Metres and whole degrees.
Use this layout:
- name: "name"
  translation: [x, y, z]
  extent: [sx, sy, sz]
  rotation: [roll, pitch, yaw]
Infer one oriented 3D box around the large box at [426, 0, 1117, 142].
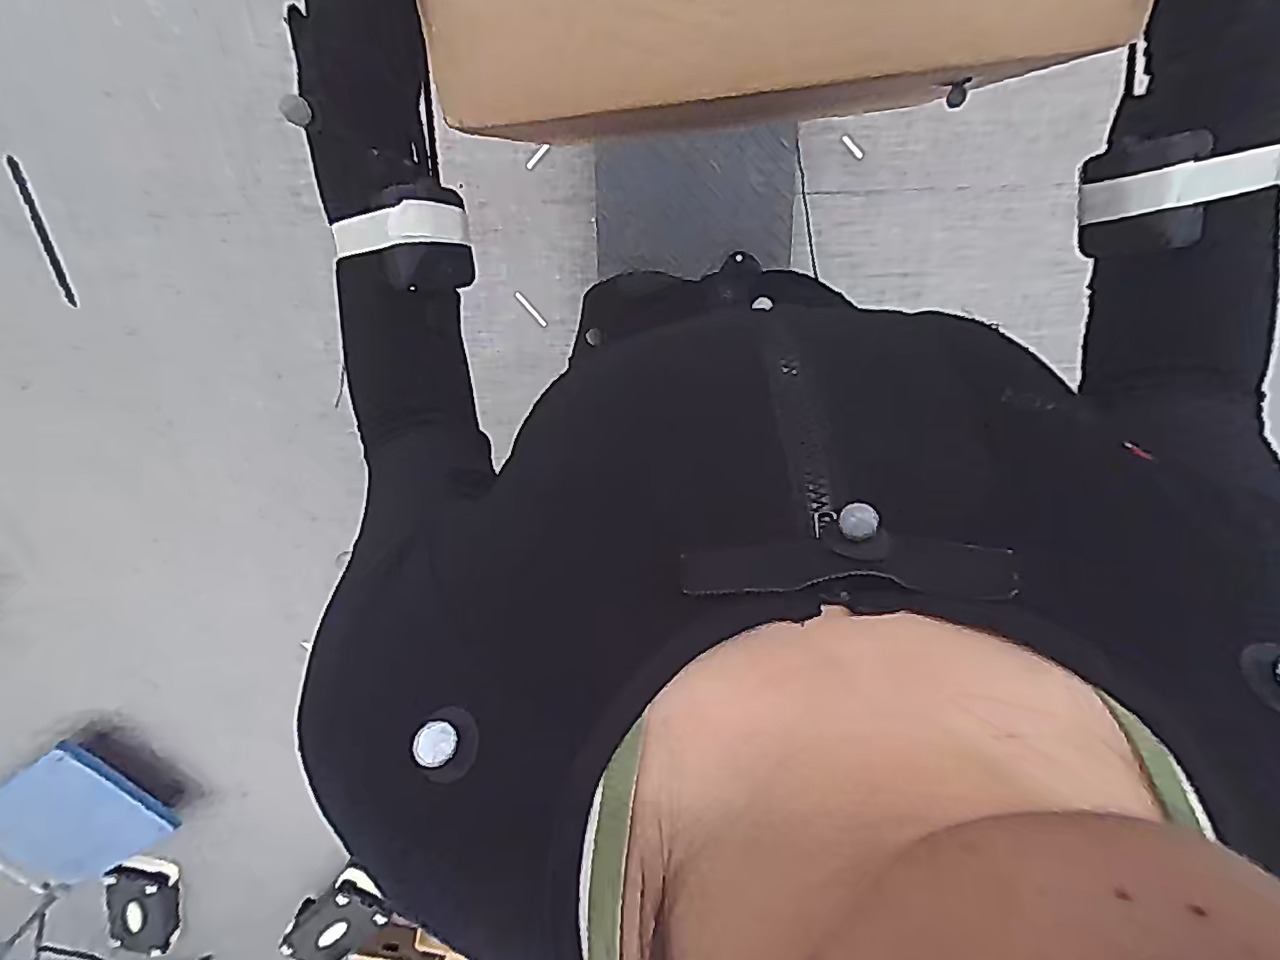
- name: "large box"
  translation: [0.070, -0.446, 0.387]
  extent: [0.408, 0.320, 0.320]
  rotation: [-3, 119, 5]
